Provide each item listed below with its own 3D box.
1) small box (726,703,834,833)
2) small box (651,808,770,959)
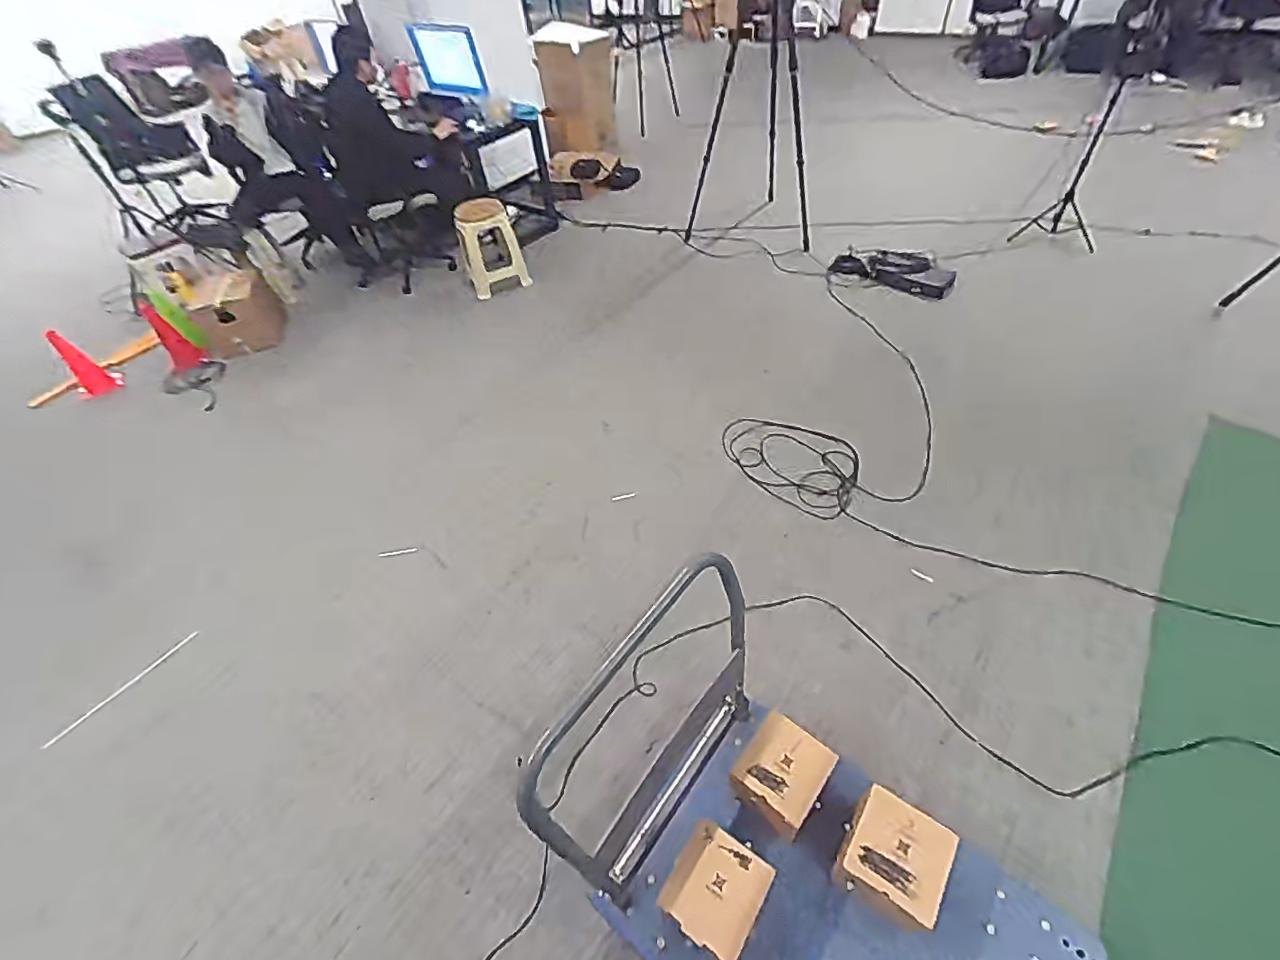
[{"bbox_3d":[0.307,0.647,1.210,0.168,0.176,0.179,31,57,29],"label":"small box"},{"bbox_3d":[0.143,0.807,1.081,0.168,0.176,0.179,27,56,26],"label":"small box"}]
